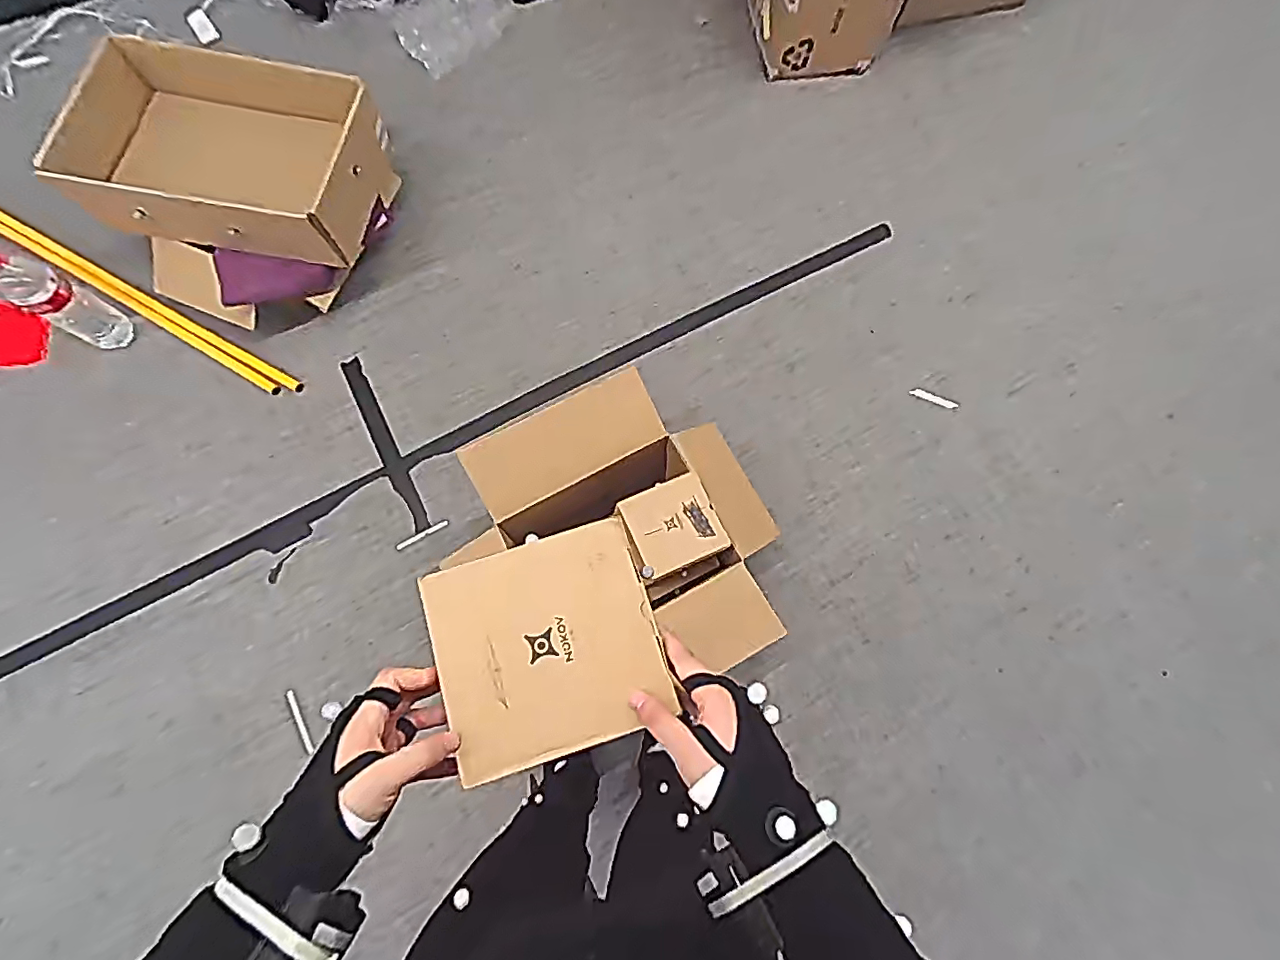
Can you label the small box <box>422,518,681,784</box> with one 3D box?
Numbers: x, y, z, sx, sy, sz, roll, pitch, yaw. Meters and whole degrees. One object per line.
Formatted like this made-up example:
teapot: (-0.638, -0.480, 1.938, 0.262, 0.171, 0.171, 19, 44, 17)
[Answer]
small box: (-0.073, 0.151, 0.509, 0.179, 0.176, 0.168, -19, 74, -4)
